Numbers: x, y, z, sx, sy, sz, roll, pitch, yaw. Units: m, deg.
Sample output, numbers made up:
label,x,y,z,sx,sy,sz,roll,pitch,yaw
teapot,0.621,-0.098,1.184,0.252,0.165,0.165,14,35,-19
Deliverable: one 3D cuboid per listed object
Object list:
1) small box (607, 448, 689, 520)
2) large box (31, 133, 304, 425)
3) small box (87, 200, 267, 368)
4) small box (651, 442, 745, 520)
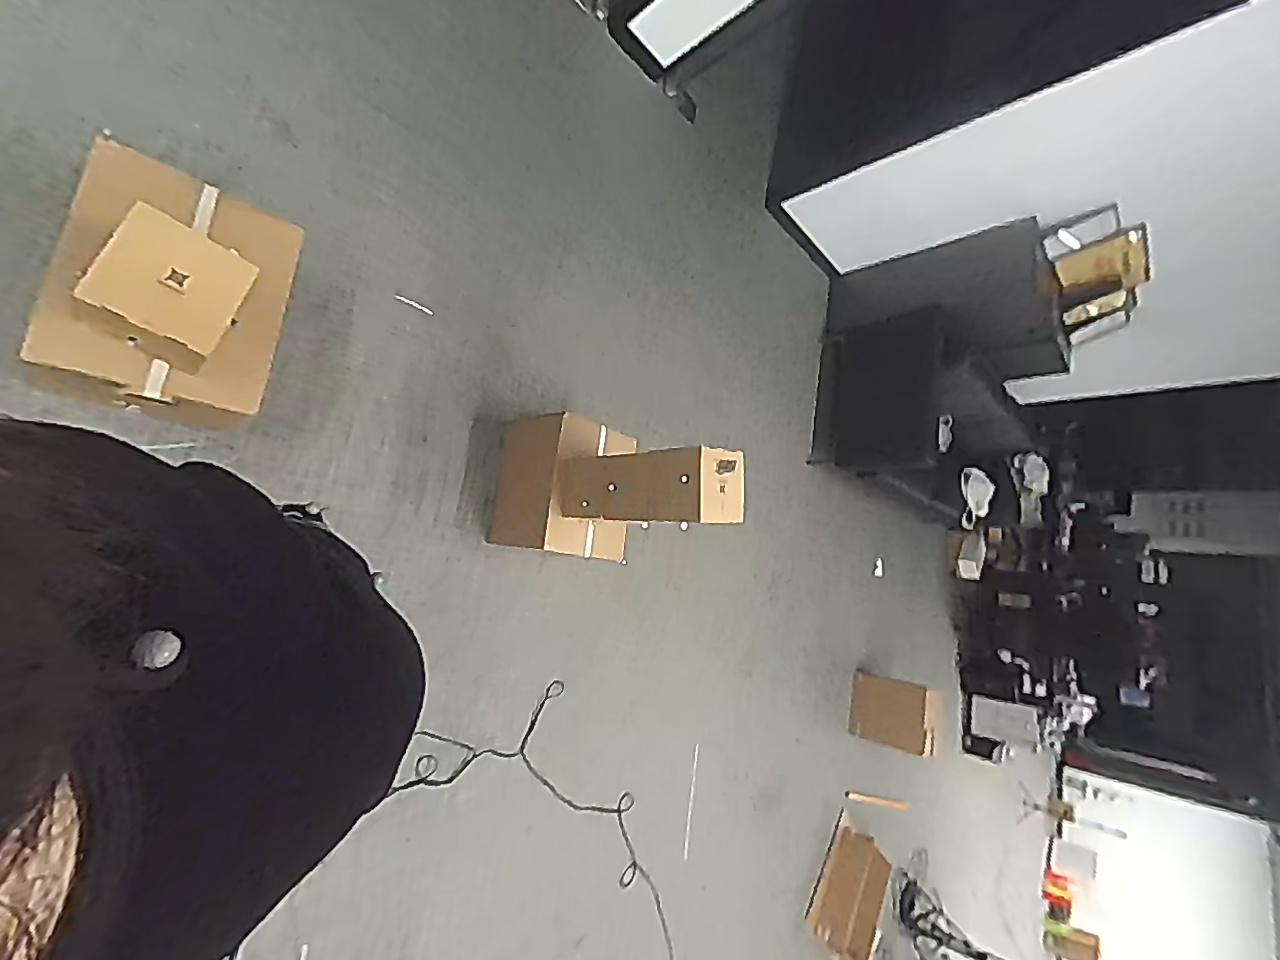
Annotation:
label,x,y,z,sx,sy,sz,roll,pitch,yaw
small box,0.026,0.013,1.444,0.168,0.176,0.179,5,86,-44
large box,-0.919,-0.352,1.078,0.320,0.320,0.408,17,76,-43
small box,-0.758,-0.309,0.891,0.168,0.176,0.179,30,69,-39
small box,0.141,0.007,1.325,0.168,0.176,0.179,4,86,-43
